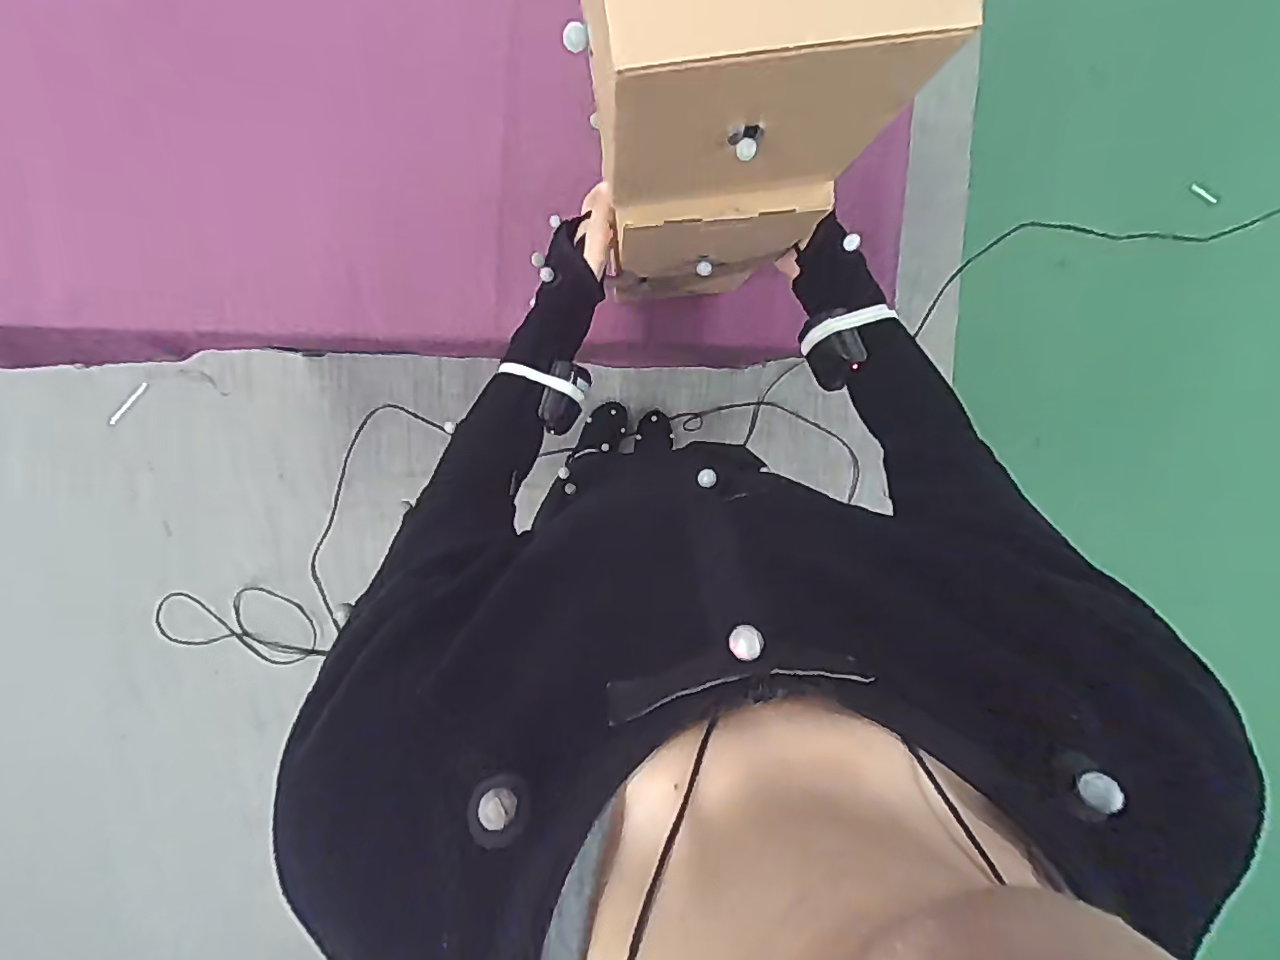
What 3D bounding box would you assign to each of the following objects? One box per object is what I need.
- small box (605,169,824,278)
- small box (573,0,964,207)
[{"bbox_3d":[0.050,-0.294,0.483,0.168,0.176,0.179,-6,99,-3],"label":"small box"},{"bbox_3d":[0.052,-0.283,0.318,0.179,0.176,0.168,-8,97,-2],"label":"small box"}]
